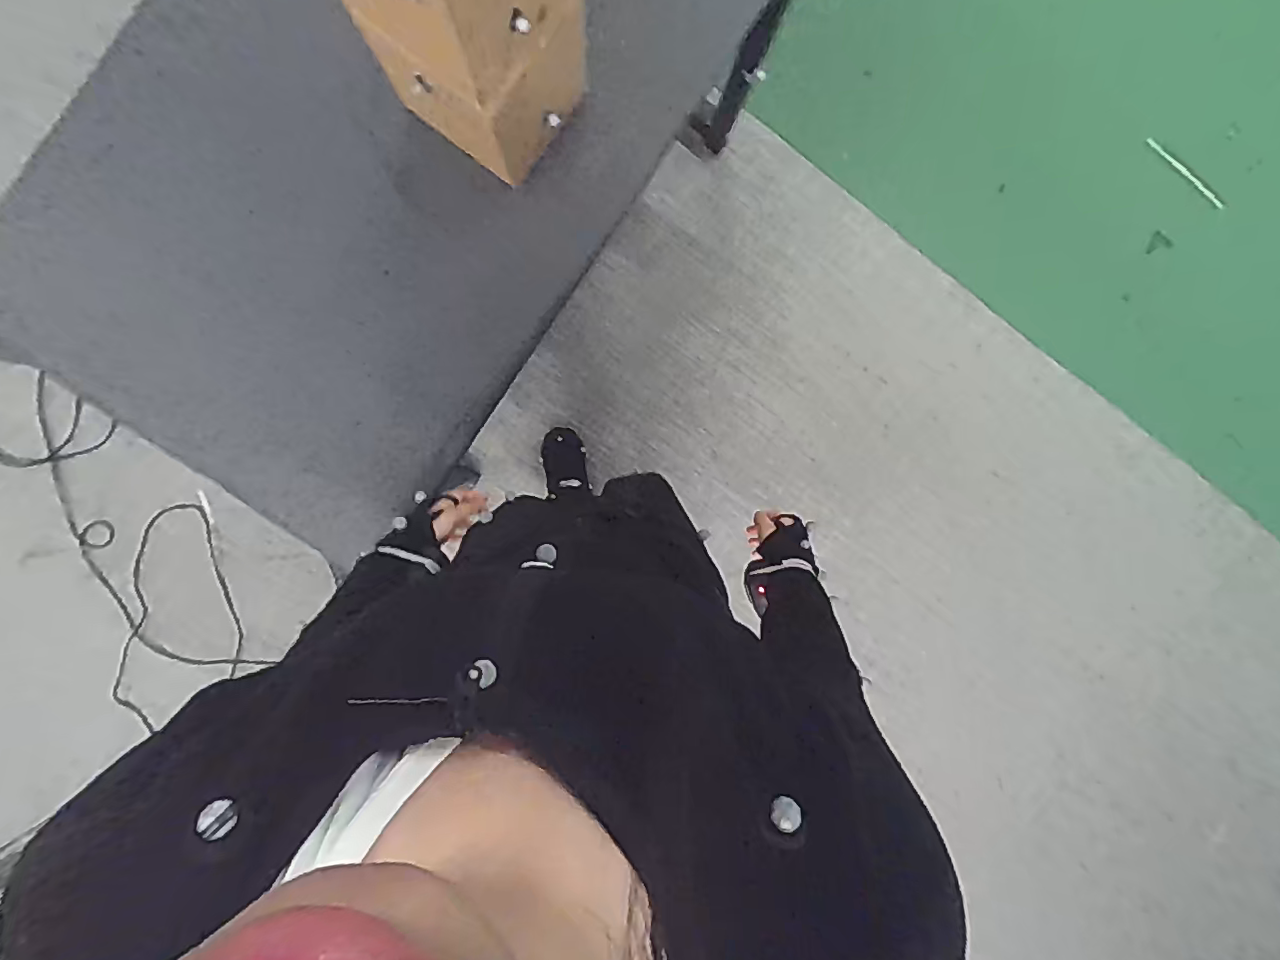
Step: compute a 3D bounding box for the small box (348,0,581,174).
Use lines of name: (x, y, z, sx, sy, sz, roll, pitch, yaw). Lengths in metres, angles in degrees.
small box: (-0.184, -0.499, 0.620, 0.179, 0.176, 0.168, 36, 92, -7)

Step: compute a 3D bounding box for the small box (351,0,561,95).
small box: (-0.175, -0.487, 0.459, 0.179, 0.176, 0.168, 35, 91, -7)
